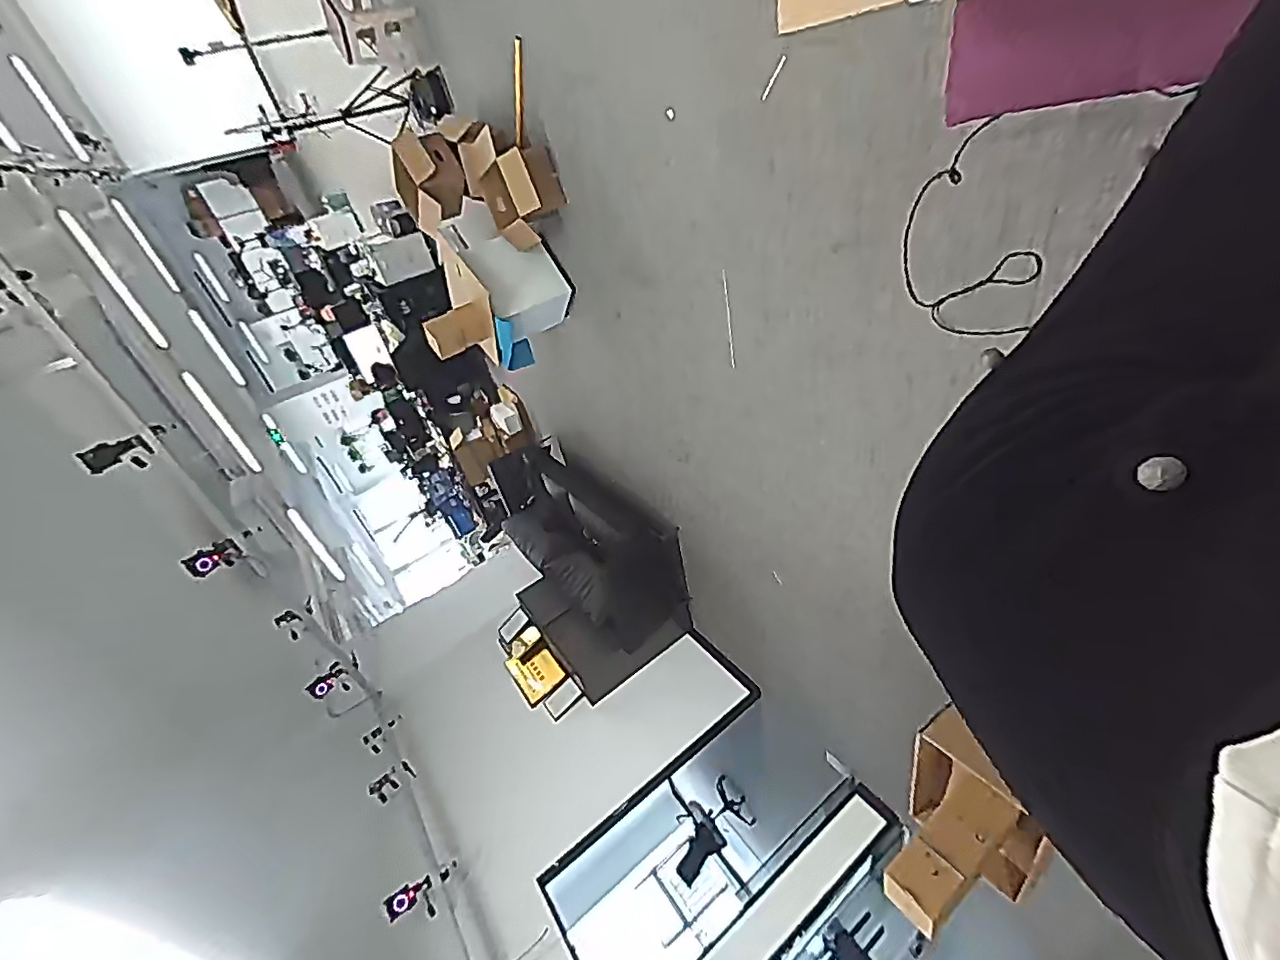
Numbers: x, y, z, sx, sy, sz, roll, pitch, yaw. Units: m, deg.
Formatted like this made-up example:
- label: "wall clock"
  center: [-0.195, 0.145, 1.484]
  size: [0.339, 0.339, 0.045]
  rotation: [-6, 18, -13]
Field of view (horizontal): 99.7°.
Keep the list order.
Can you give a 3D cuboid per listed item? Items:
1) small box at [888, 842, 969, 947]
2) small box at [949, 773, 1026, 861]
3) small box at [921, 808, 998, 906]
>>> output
- label: "small box"
  center: [0.904, 1.294, 1.697]
  size: [0.168, 0.176, 0.179]
  rotation: [30, 145, 50]
- label: "small box"
  center: [1.162, 1.137, 1.820]
  size: [0.168, 0.176, 0.179]
  rotation: [31, 146, 47]
- label: "small box"
  center: [1.034, 1.219, 1.758]
  size: [0.168, 0.176, 0.179]
  rotation: [30, 146, 49]
